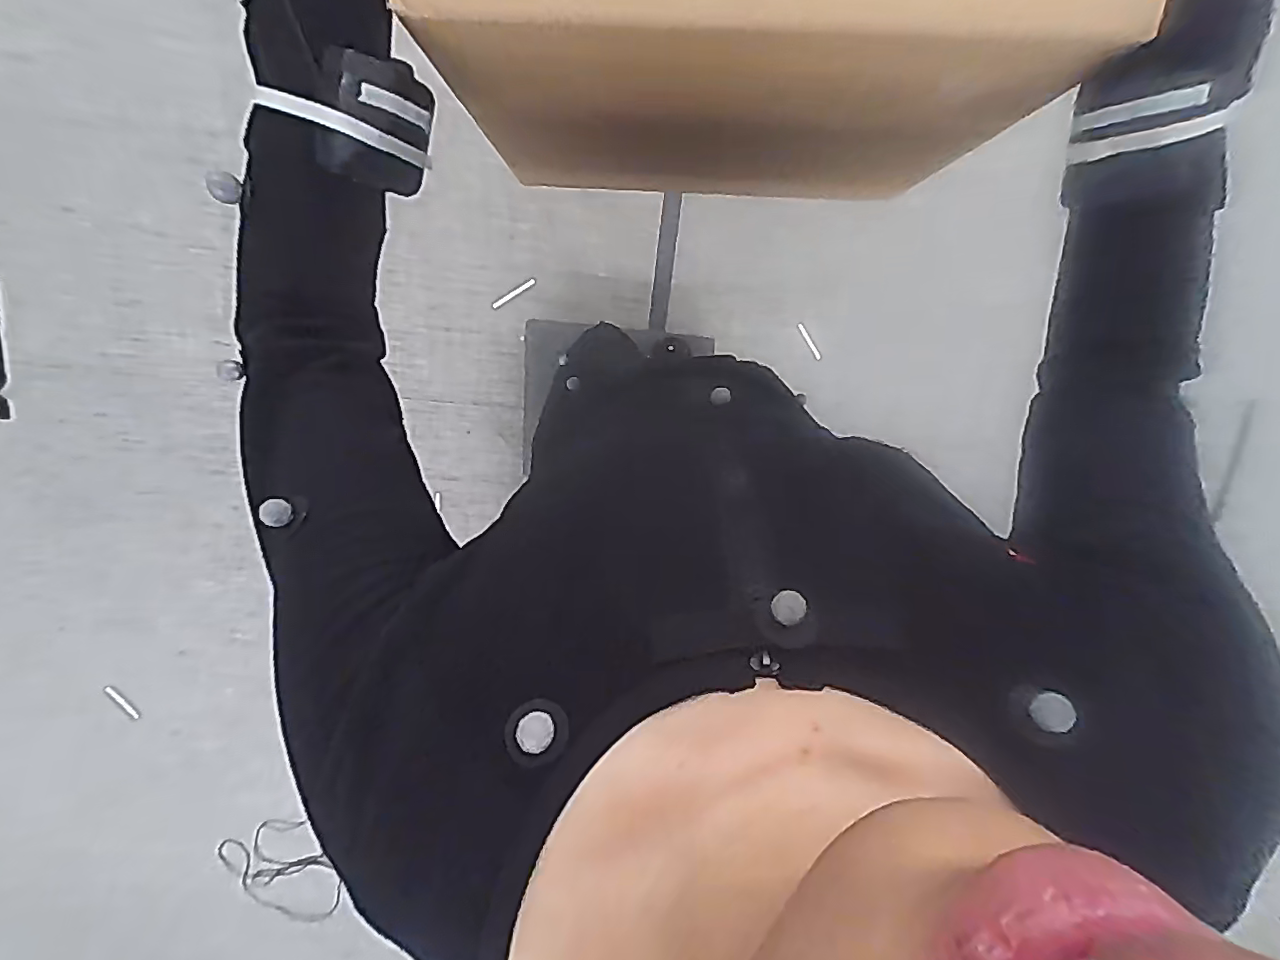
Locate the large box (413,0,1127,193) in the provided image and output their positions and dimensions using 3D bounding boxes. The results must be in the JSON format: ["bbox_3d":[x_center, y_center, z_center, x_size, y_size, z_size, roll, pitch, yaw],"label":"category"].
[{"bbox_3d":[0.072,-0.432,0.413,0.408,0.320,0.320,2,103,-1],"label":"large box"}]
